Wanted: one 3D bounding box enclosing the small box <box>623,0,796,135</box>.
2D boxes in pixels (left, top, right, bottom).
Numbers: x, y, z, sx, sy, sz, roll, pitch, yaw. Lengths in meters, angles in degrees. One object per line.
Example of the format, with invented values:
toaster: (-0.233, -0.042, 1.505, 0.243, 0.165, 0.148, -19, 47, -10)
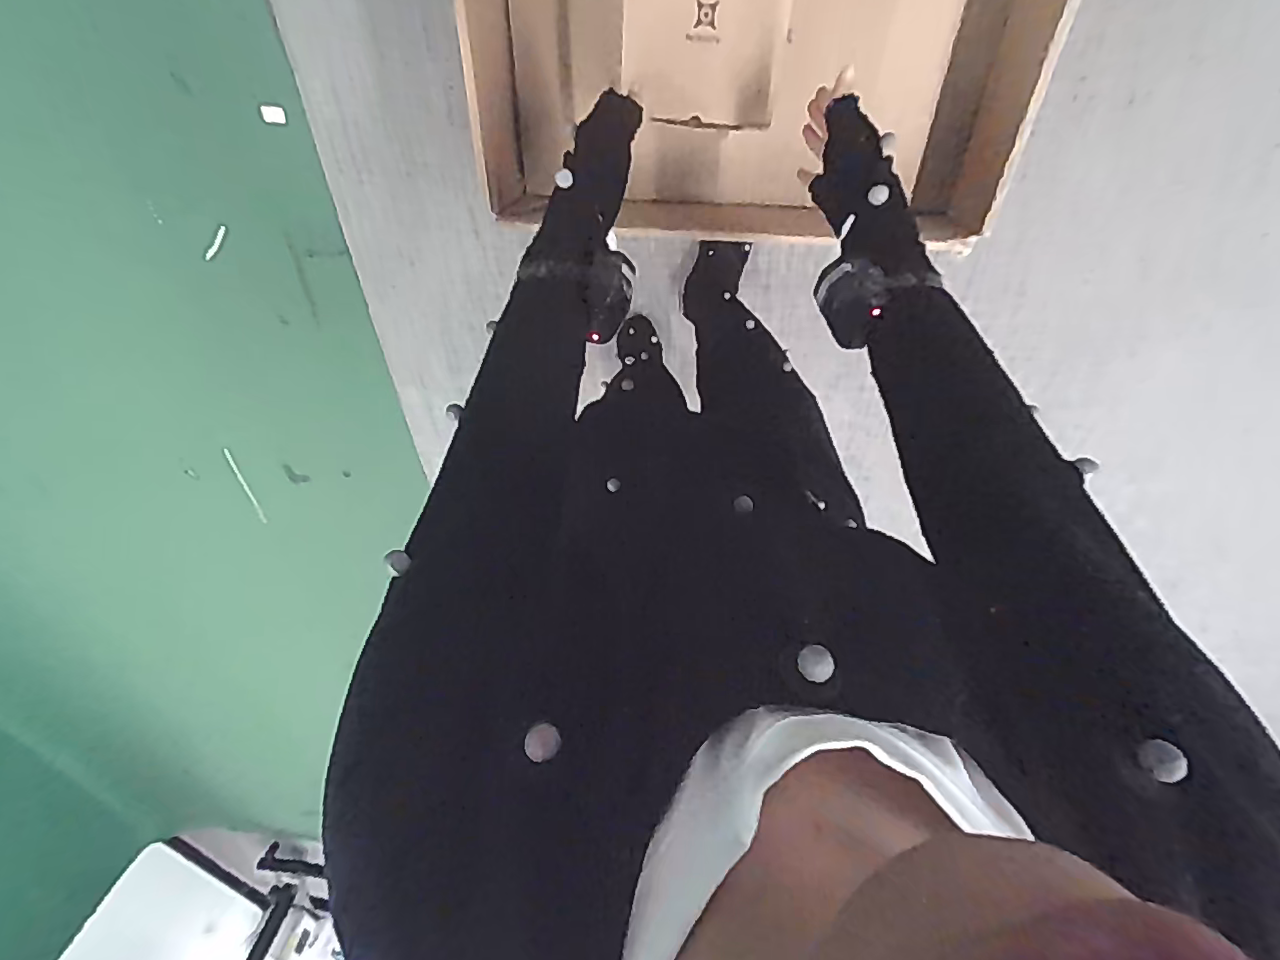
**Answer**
small box: (0.075, -0.498, 0.601, 0.168, 0.176, 0.179, 5, 126, 1)
